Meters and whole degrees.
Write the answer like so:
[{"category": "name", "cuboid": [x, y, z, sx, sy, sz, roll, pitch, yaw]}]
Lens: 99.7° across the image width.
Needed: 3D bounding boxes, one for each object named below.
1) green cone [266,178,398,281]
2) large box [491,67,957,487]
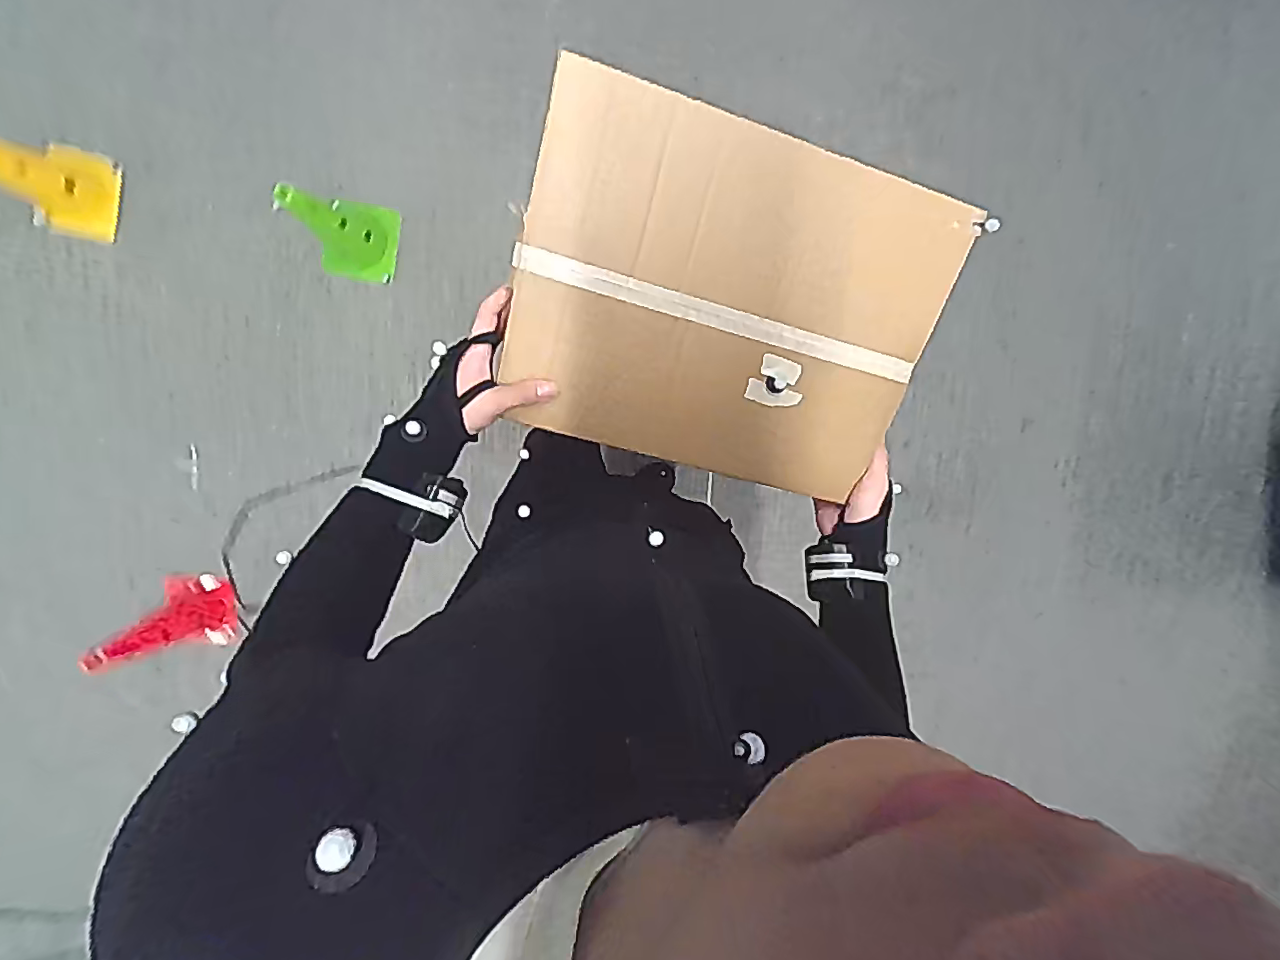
[{"category": "green cone", "cuboid": [-0.777, -0.650, 1.332, 0.202, 0.368, 0.200, 11, 96, -2]}, {"category": "large box", "cuboid": [0.059, -0.221, 0.664, 0.408, 0.320, 0.320, 12, 112, -11]}]
